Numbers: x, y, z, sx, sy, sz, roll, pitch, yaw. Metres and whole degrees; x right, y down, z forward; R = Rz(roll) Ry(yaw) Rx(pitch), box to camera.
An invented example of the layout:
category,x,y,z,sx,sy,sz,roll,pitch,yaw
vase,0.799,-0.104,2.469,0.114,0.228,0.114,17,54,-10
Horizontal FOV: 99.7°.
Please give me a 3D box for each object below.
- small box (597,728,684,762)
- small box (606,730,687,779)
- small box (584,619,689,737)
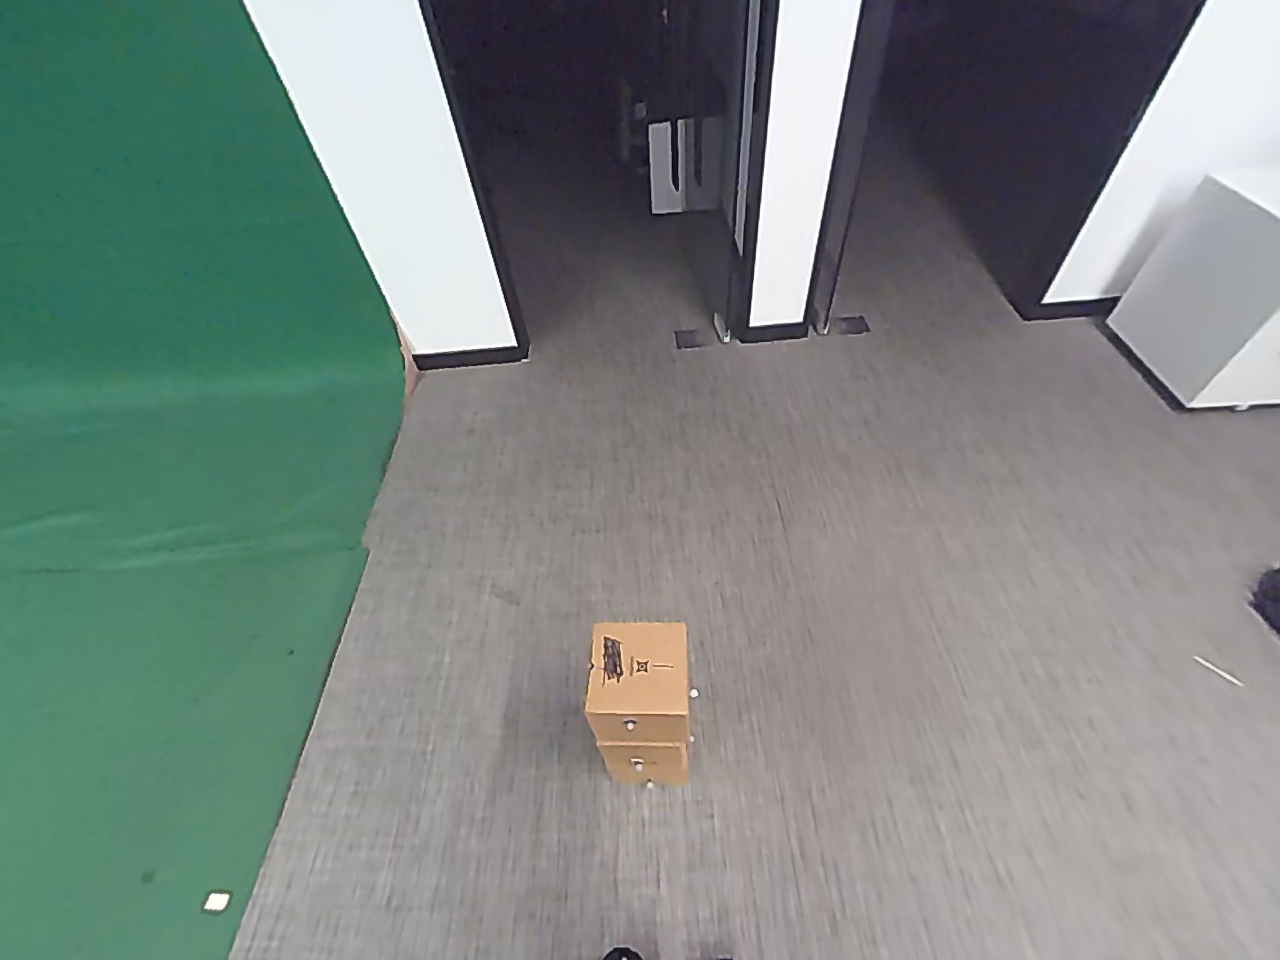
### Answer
category,x,y,z,sx,sy,sz,roll,pitch,yaw
small box,0.008,0.483,1.147,0.168,0.176,0.179,-3,50,6
small box,0.021,0.592,1.267,0.179,0.176,0.168,0,50,5
small box,0.002,0.376,1.022,0.179,0.176,0.168,-1,50,5
